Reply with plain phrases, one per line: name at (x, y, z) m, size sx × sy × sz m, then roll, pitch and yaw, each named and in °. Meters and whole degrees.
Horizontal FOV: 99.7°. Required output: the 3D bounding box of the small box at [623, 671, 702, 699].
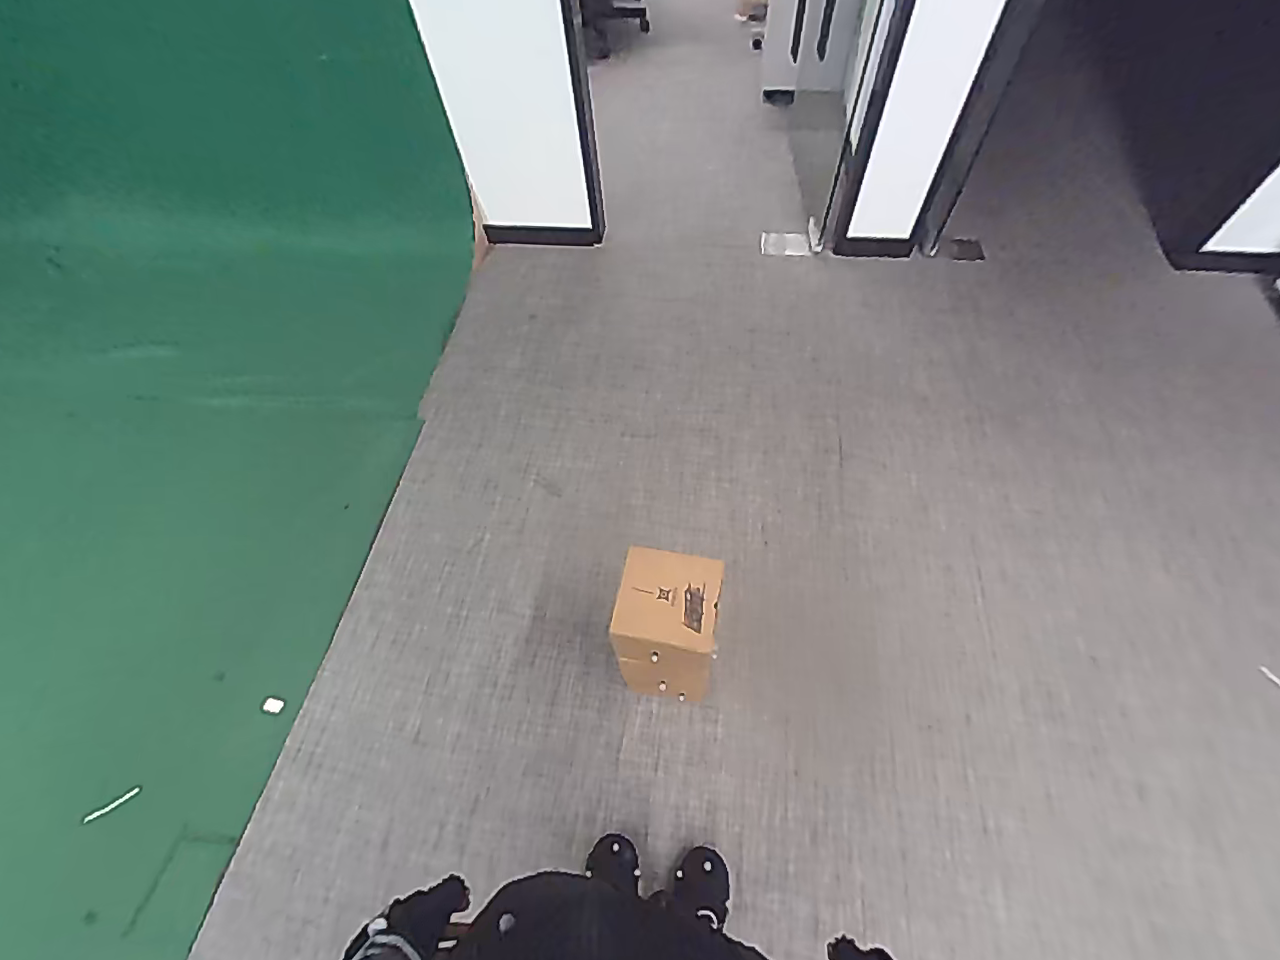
small box at (0.065, 0.414, 1.289) m, size 0.179 × 0.176 × 0.168 m, roll 6°, pitch 59°, yaw 9°

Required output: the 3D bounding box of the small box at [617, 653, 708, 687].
small box at (0.059, 0.331, 1.148) m, size 0.179 × 0.176 × 0.168 m, roll 8°, pitch 59°, yaw 8°

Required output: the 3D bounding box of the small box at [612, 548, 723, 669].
small box at (0.053, 0.244, 1.009) m, size 0.179 × 0.176 × 0.168 m, roll 7°, pitch 59°, yaw 6°
